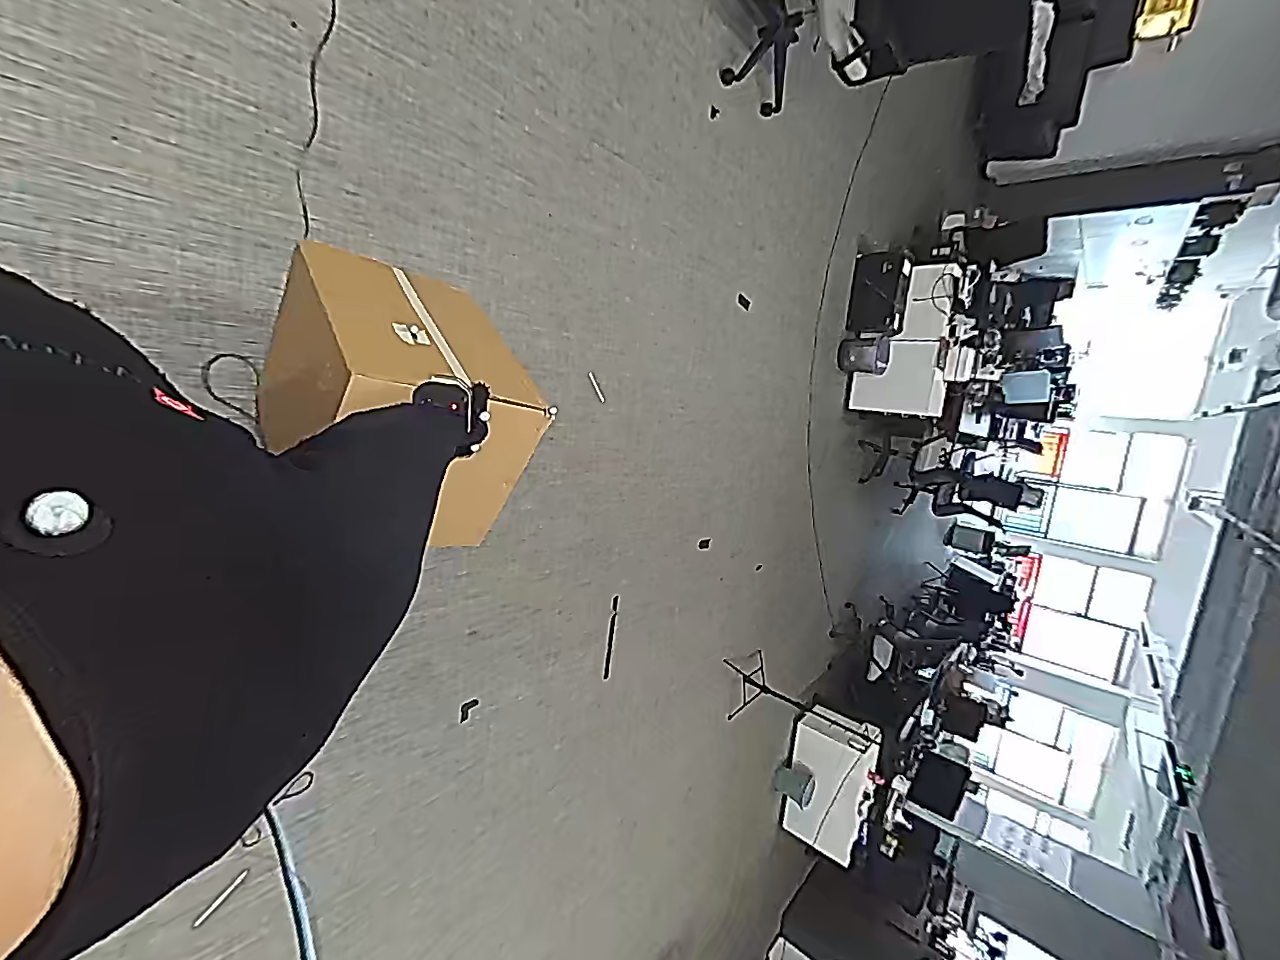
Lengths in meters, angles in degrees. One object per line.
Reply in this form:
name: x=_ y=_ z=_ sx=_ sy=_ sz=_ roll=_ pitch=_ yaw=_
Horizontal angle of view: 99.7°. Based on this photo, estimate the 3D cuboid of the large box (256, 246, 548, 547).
large box: x=-0.436 y=-0.132 z=0.955 sx=0.320 sy=0.408 sz=0.320 roll=6 pitch=128 yaw=-47
